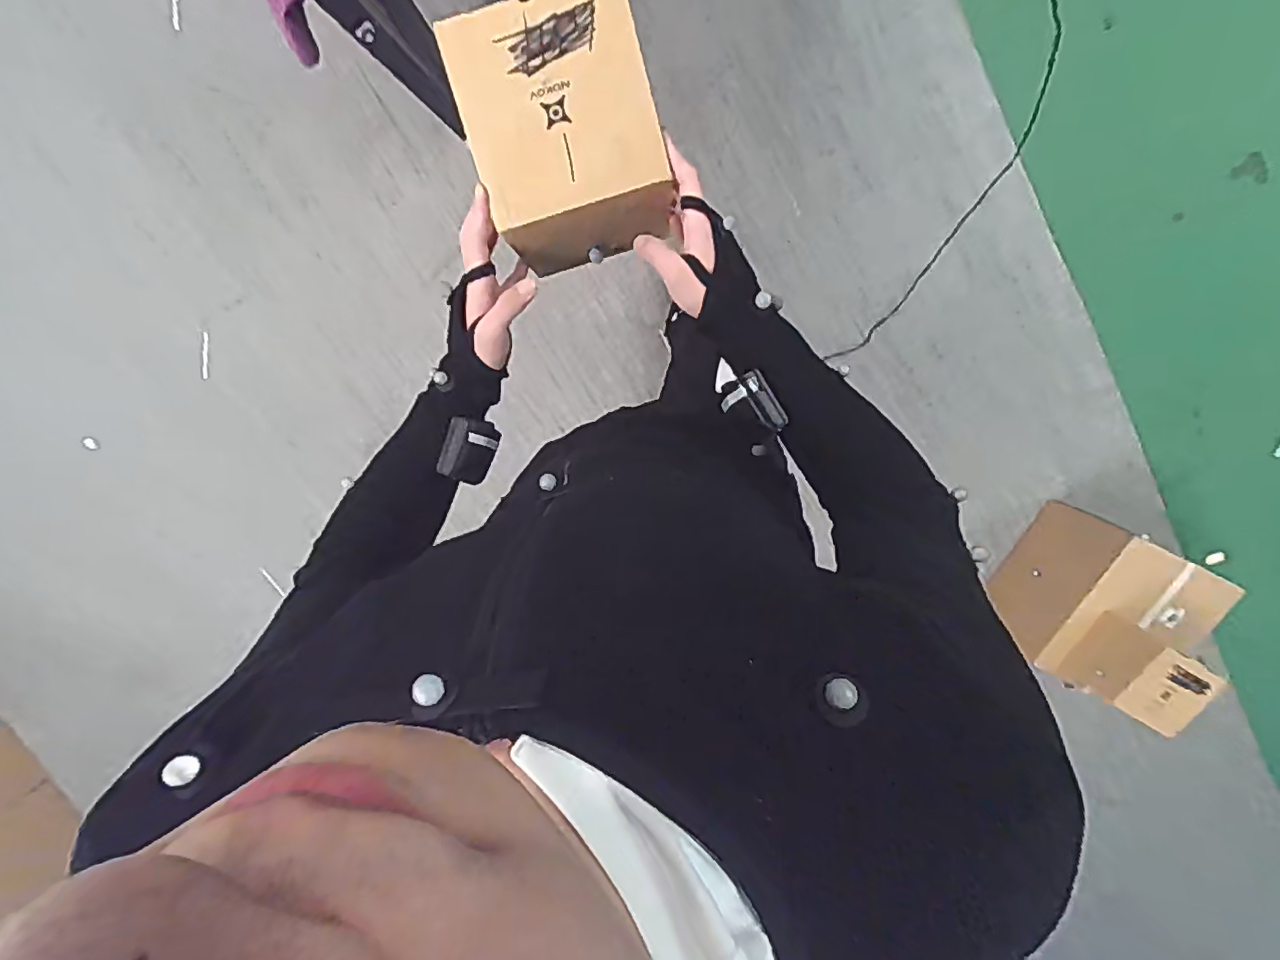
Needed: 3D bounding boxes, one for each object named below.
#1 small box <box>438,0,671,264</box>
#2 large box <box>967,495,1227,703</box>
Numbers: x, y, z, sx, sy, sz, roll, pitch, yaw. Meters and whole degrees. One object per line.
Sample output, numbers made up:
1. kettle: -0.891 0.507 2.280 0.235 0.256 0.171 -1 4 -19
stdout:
1. small box: -0.071 -0.344 0.544 0.168 0.176 0.179 -15 97 5
2. large box: 1.216 0.313 1.494 0.320 0.320 0.408 26 104 -4
